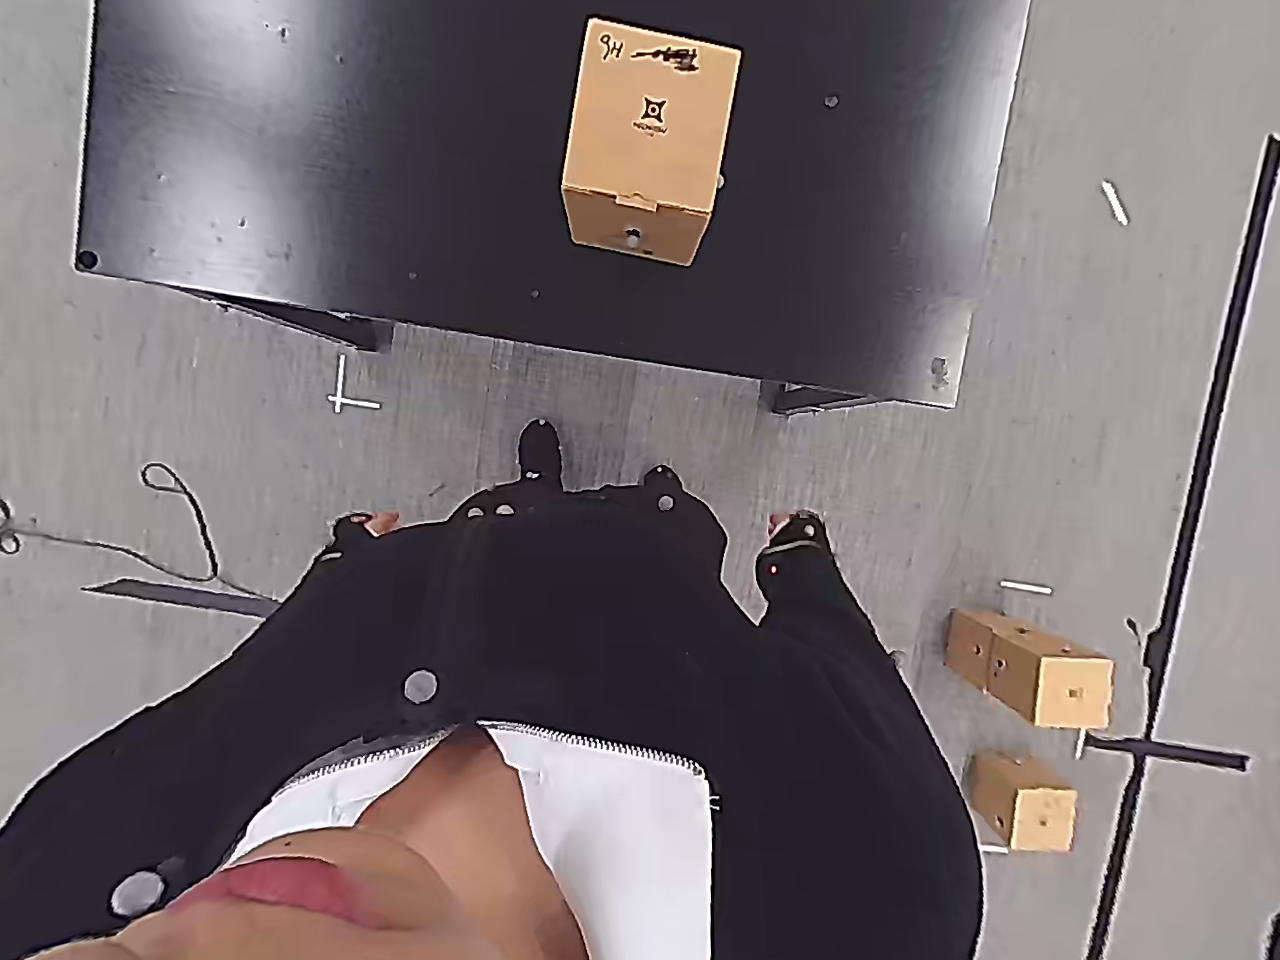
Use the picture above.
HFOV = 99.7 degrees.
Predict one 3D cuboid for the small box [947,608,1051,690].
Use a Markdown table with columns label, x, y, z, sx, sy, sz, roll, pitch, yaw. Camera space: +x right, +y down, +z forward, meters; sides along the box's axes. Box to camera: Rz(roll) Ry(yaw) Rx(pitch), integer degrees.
| label | x | y | z | sx | sy | sz | roll | pitch | yaw |
| --- | --- | --- | --- | --- | --- | --- | --- | --- | --- |
| small box | 0.978 | 0.463 | 1.485 | 0.168 | 0.176 | 0.179 | 6 | 95 | -2 |

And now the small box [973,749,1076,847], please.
| label | x | y | z | sx | sy | sz | roll | pitch | yaw |
| --- | --- | --- | --- | --- | --- | --- | --- | --- | --- |
| small box | 1.075 | 0.893 | 1.526 | 0.168 | 0.176 | 0.179 | 3 | 95 | -2 |

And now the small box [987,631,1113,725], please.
| label | x | y | z | sx | sy | sz | roll | pitch | yaw |
| --- | --- | --- | --- | --- | --- | --- | --- | --- | --- |
| small box | 0.995 | 0.477 | 1.324 | 0.179 | 0.176 | 0.168 | 2 | 93 | -1 |

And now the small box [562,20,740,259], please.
| label | x | y | z | sx | sy | sz | roll | pitch | yaw |
| --- | --- | --- | --- | --- | --- | --- | --- | --- | --- |
| small box | 0.010 | -0.388 | 0.653 | 0.168 | 0.176 | 0.179 | 10 | 94 | -3 |
